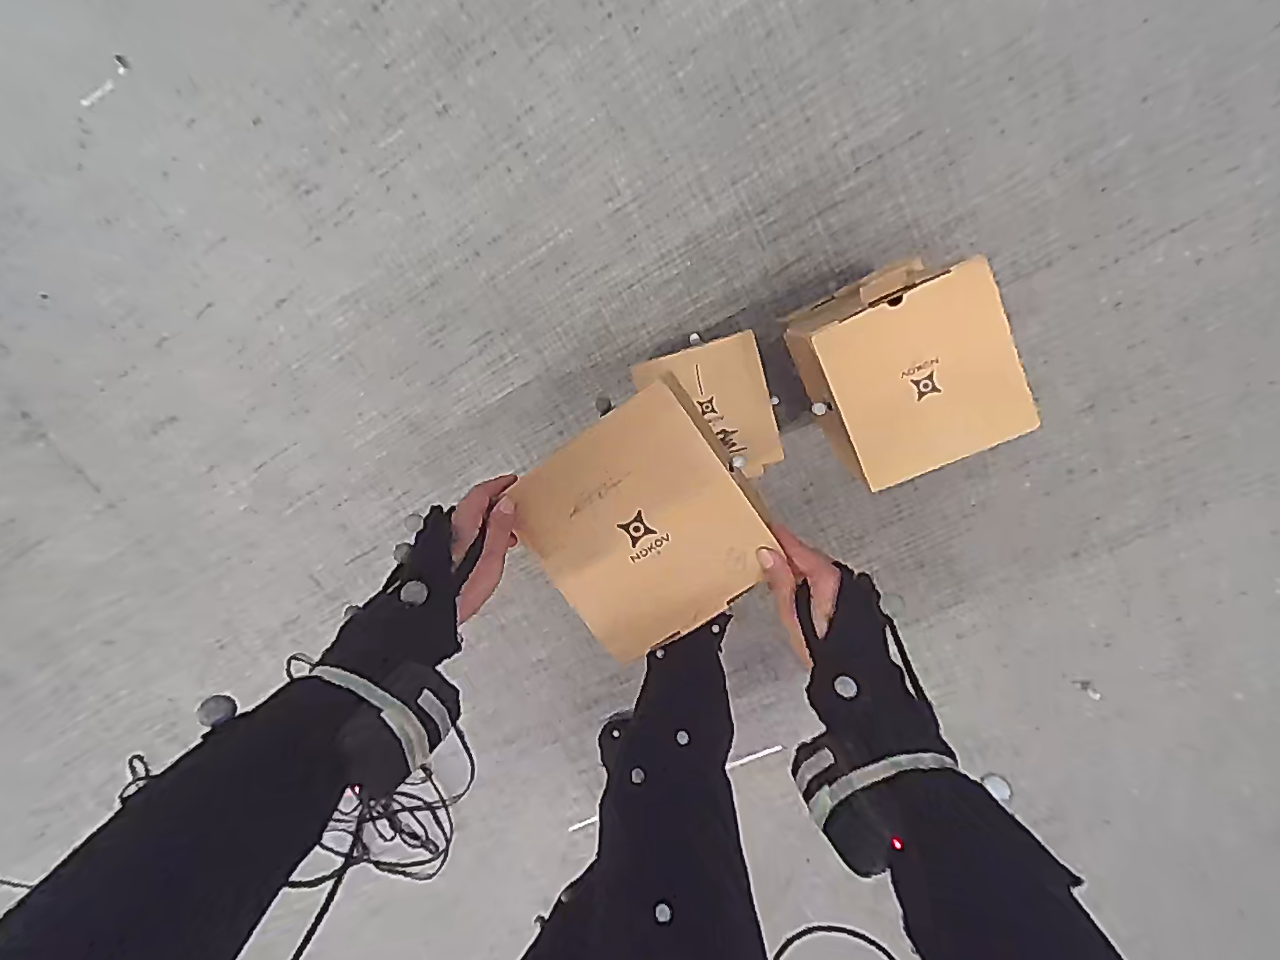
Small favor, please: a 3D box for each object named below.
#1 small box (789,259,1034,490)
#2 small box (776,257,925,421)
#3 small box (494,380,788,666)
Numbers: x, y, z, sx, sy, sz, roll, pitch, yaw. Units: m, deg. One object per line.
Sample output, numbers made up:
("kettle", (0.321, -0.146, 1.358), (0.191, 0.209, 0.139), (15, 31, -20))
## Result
("small box", (0.279, -0.116, 0.594), (0.168, 0.176, 0.179), (-24, 101, 13))
("small box", (0.302, -0.176, 0.745), (0.168, 0.176, 0.179), (-24, 100, 12))
("small box", (0.007, 0.023, 0.491), (0.168, 0.176, 0.179), (-35, 97, 11))
